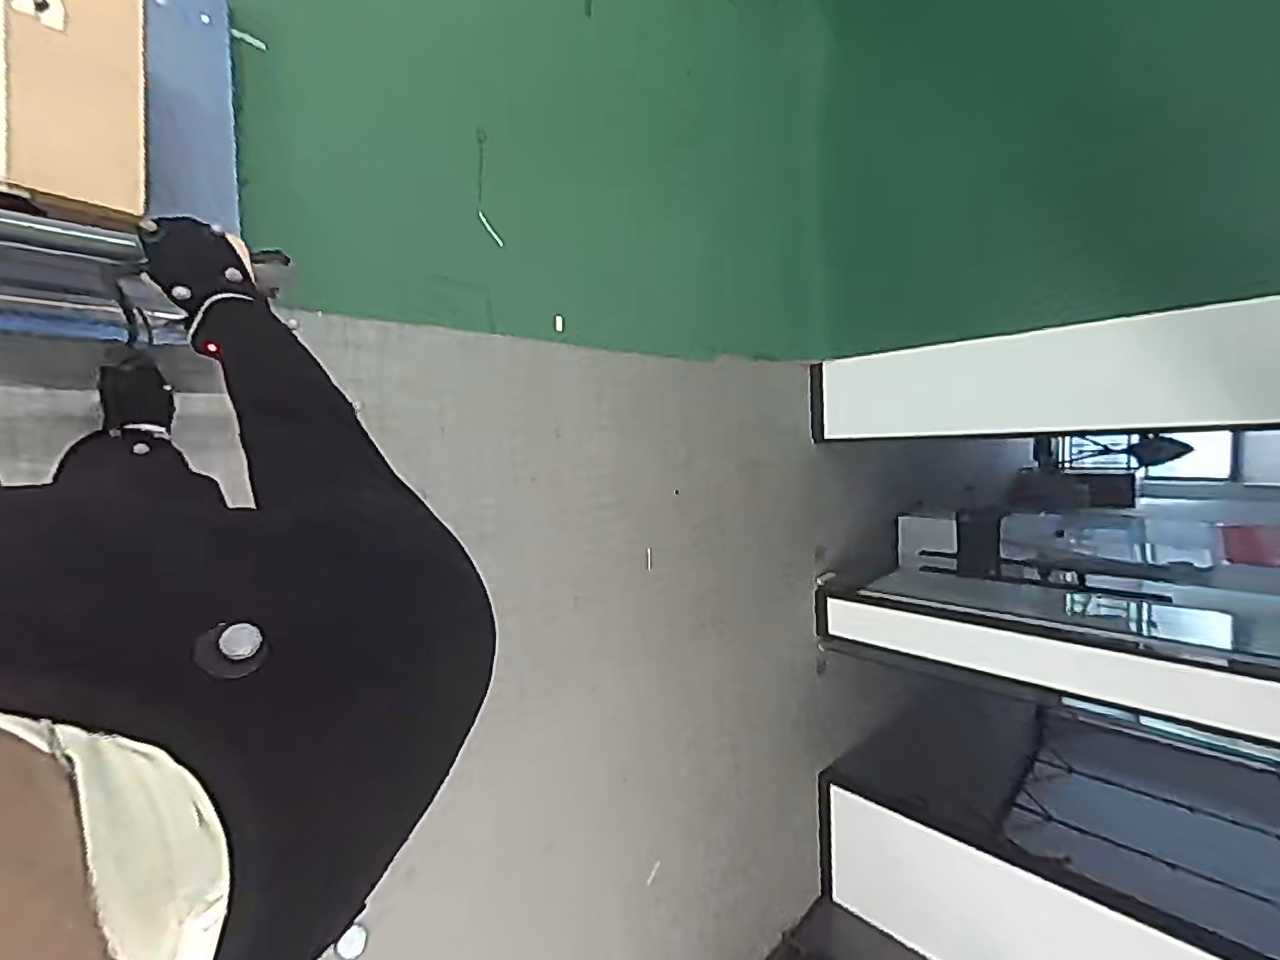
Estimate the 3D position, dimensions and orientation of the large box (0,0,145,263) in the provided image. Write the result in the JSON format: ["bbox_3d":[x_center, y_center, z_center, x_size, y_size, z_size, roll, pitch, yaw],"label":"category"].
[{"bbox_3d":[-1.004,-0.617,0.857,0.320,0.320,0.408,-1,91,-44],"label":"large box"}]
